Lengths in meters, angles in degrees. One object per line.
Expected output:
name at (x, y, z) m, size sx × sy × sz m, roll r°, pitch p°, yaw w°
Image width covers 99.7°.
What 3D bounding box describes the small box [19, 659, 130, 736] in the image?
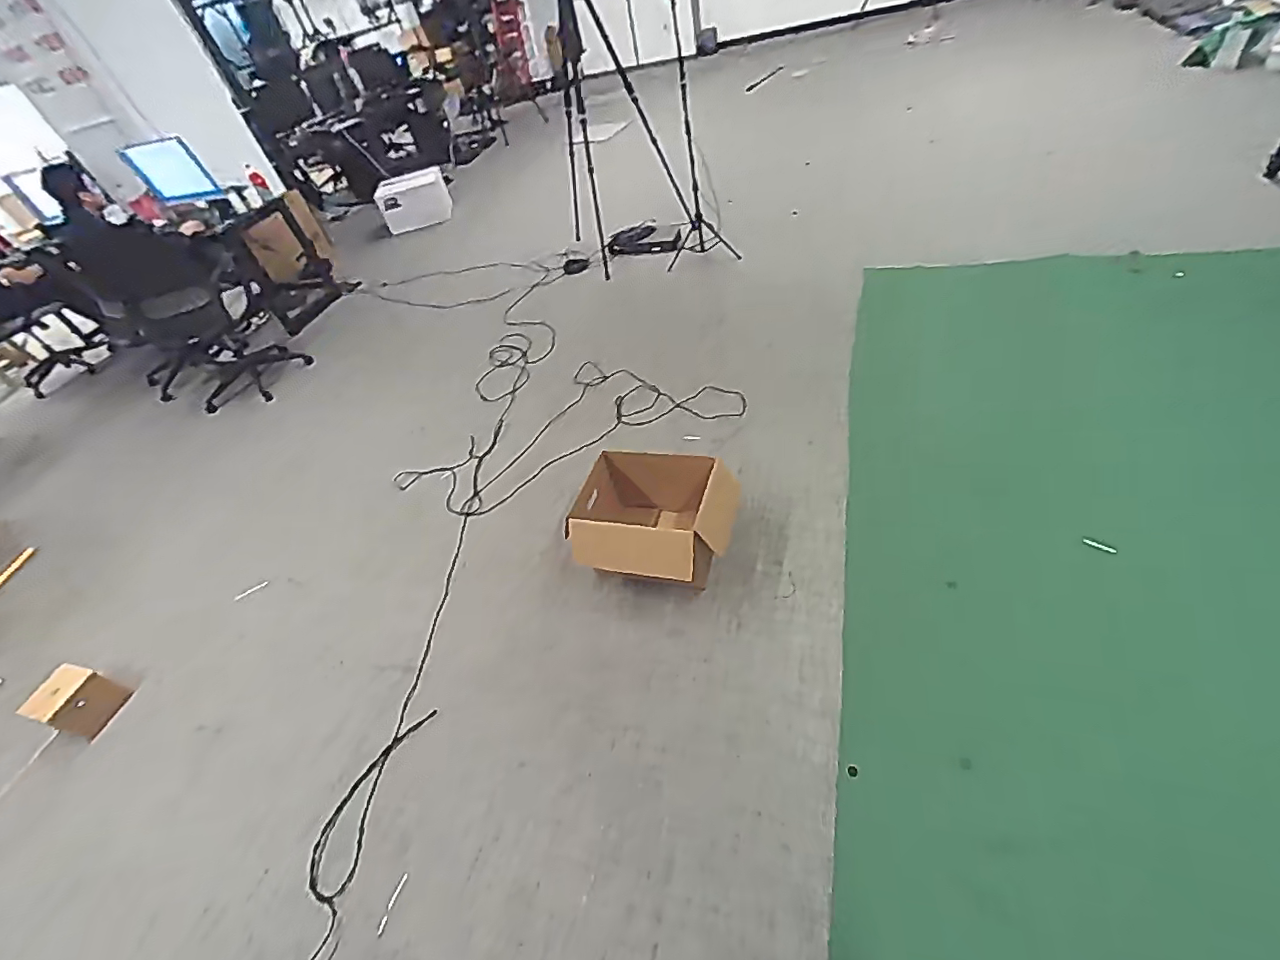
small box at (-1.898, 0.738, 1.833) m, size 0.168 × 0.176 × 0.179 m, roll 4°, pitch 49°, yaw 18°
